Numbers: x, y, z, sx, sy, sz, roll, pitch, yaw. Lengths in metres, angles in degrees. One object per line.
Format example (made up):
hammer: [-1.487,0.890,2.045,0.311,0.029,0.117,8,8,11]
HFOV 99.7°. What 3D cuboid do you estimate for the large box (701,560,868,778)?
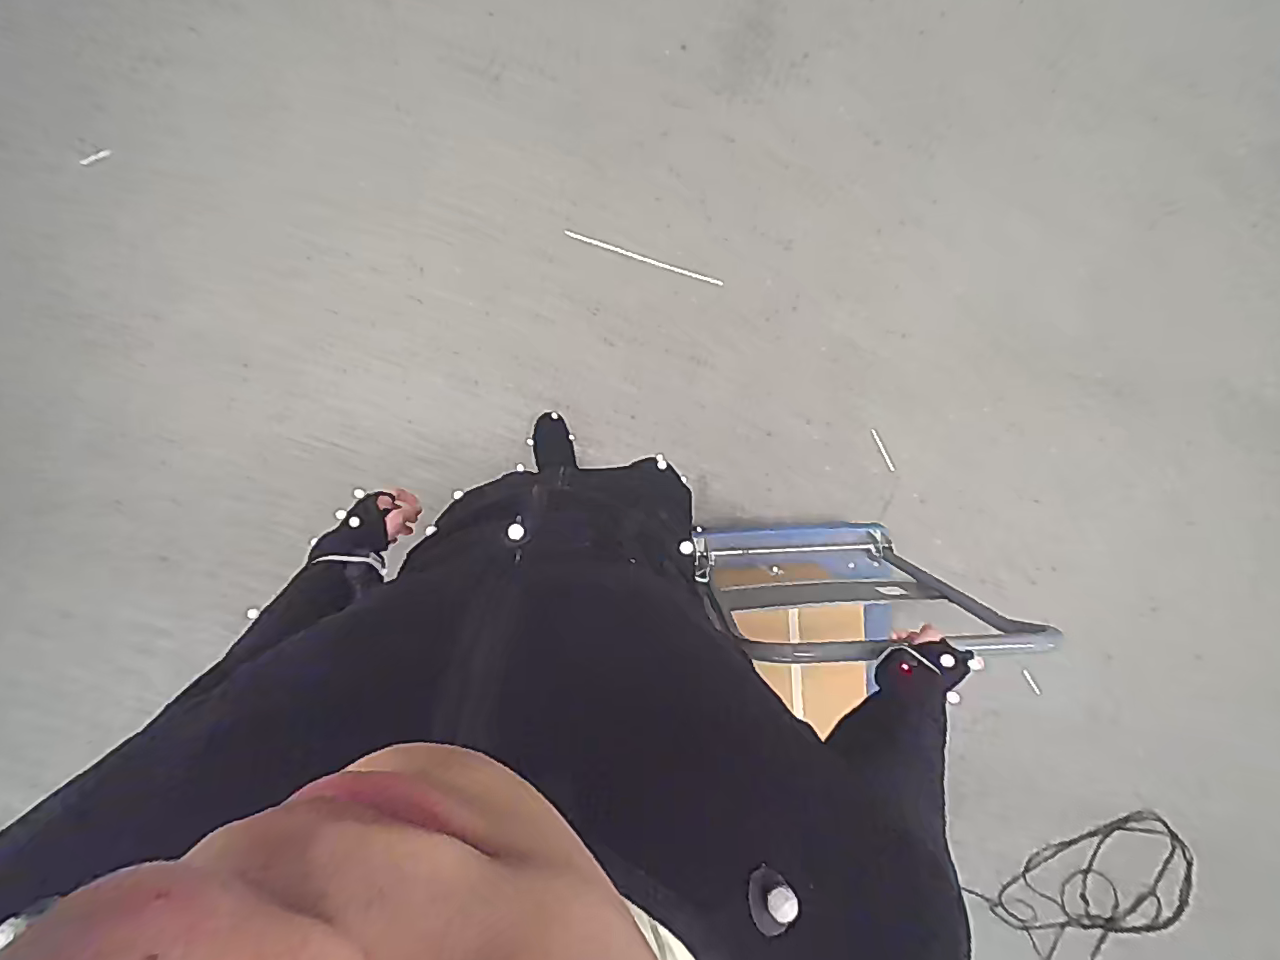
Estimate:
large box: [0.337,0.440,1.336,0.320,0.320,0.408,-4,95,-1]
